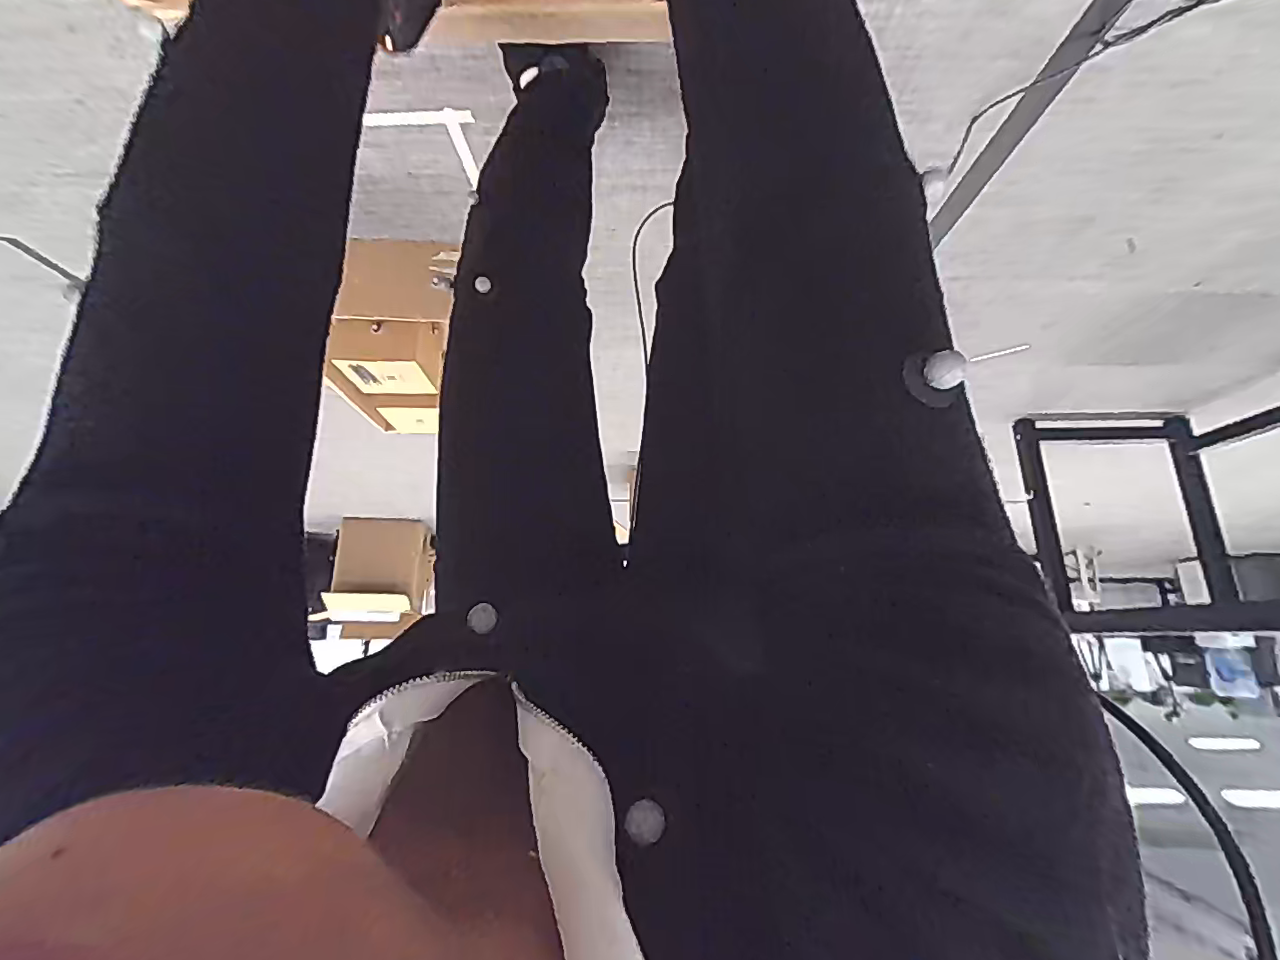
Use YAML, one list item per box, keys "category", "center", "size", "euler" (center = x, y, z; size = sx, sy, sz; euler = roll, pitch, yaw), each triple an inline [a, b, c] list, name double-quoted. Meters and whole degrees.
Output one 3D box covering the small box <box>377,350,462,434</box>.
- category: "small box"
  center: [-0.591, -0.235, 1.473]
  size: [0.168, 0.176, 0.179]
  euler: [-1, 162, -4]
